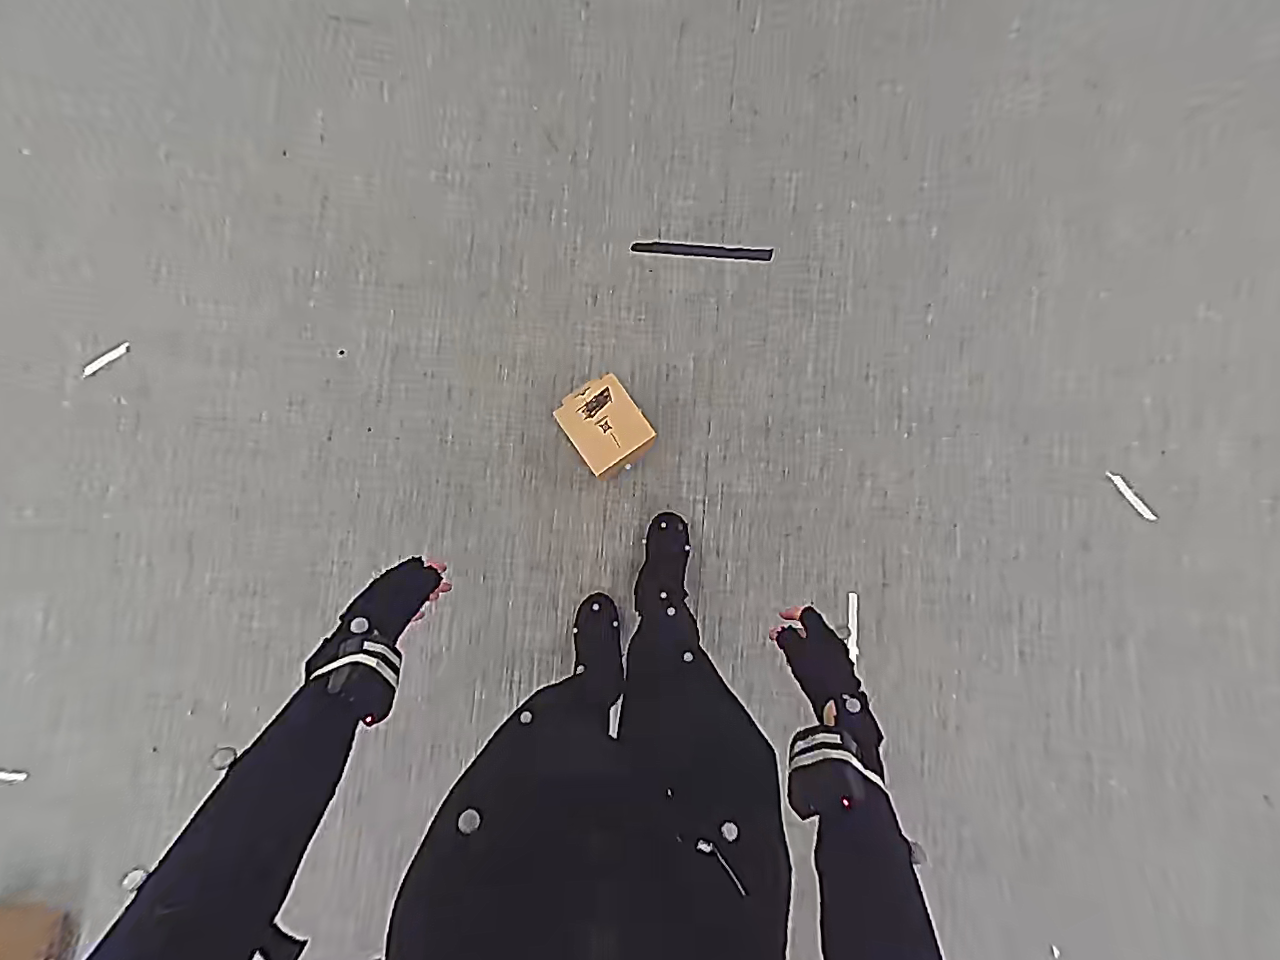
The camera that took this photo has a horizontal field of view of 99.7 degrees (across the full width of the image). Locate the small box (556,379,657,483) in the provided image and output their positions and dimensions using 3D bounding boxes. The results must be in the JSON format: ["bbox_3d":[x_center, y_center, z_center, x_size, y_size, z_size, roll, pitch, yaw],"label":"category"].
[{"bbox_3d":[-0.078,-0.107,1.283,0.168,0.176,0.179,-35,87,-3],"label":"small box"}]

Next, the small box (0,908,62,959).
[{"bbox_3d":[-1.418,1.058,1.153,0.179,0.176,0.168,5,86,-1],"label":"small box"}]
